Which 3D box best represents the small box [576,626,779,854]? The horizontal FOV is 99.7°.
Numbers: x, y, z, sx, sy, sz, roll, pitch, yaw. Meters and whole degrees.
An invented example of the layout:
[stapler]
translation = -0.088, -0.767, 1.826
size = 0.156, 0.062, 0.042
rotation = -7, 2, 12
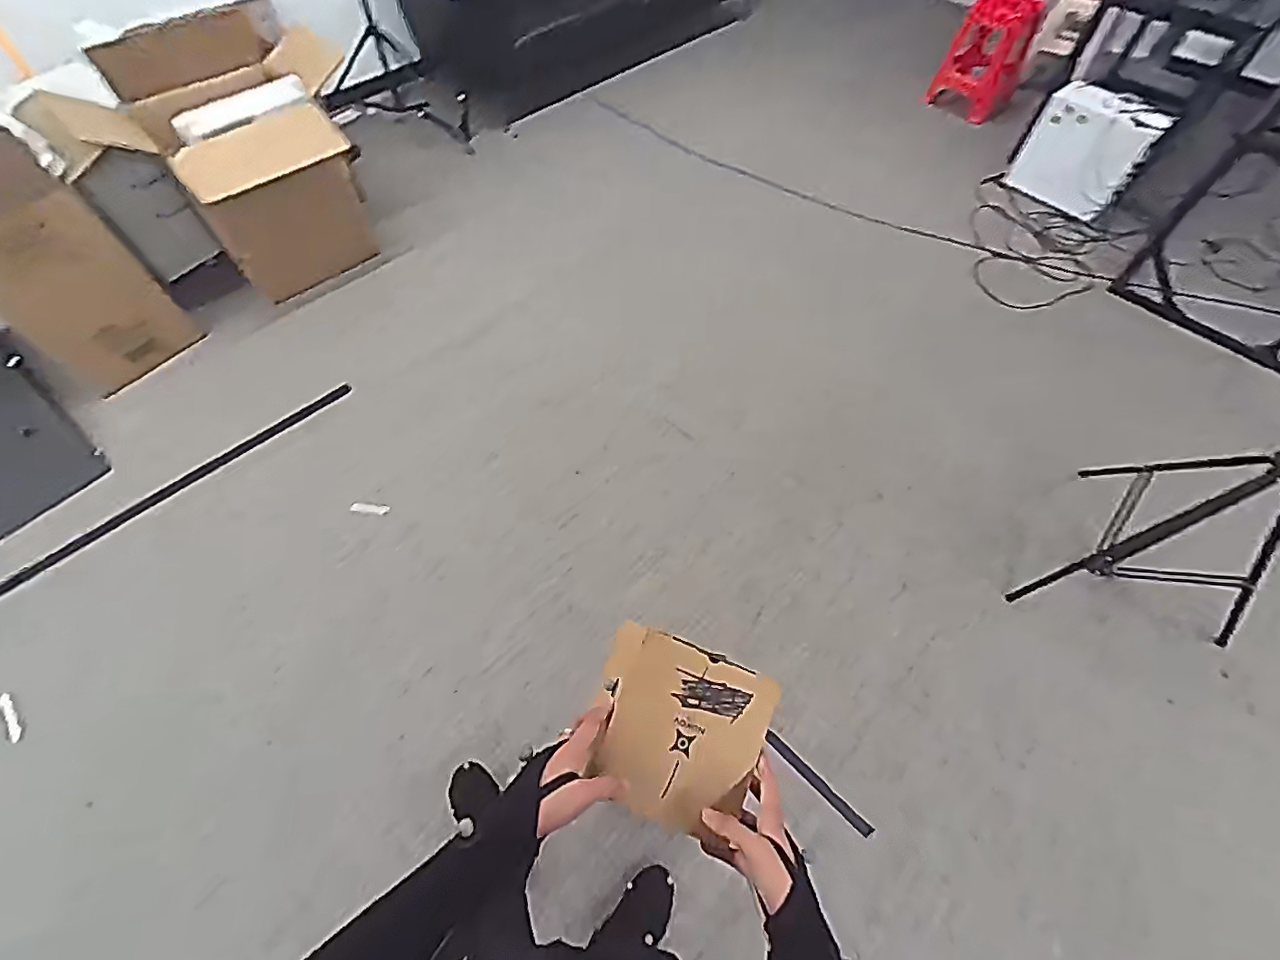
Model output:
[small box]
translation = 0.032, 0.282, 0.633
size = 0.168, 0.176, 0.179
rotation = 24, 75, -4
